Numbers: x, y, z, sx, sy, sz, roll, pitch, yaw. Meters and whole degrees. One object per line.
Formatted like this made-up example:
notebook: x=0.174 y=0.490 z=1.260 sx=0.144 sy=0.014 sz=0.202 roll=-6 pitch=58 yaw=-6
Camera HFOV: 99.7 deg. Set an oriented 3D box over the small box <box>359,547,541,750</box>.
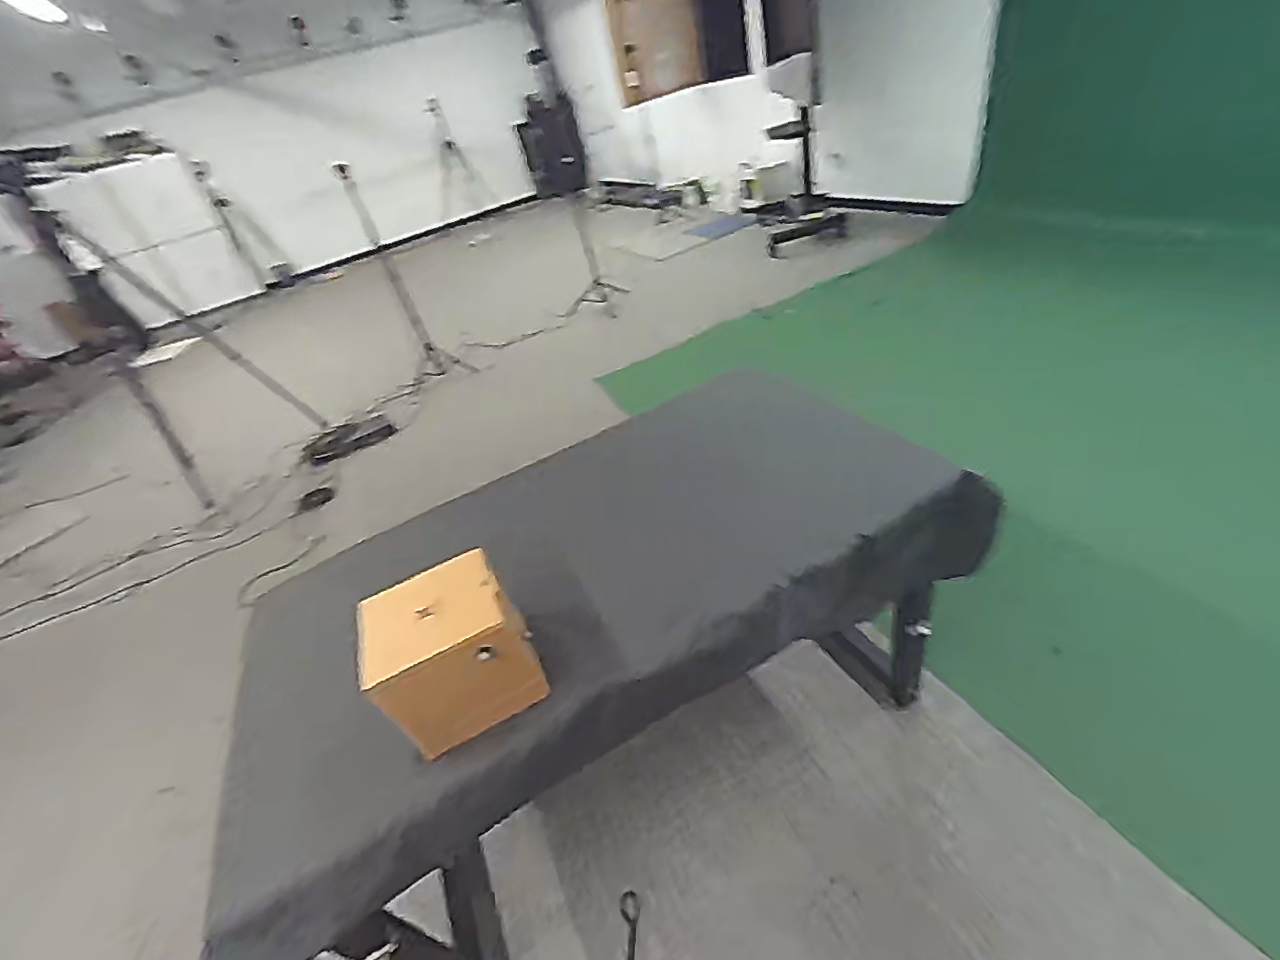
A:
small box: x=-0.261 y=0.233 z=0.750 sx=0.179 sy=0.176 sz=0.168 roll=-25 pitch=36 yaw=-14
